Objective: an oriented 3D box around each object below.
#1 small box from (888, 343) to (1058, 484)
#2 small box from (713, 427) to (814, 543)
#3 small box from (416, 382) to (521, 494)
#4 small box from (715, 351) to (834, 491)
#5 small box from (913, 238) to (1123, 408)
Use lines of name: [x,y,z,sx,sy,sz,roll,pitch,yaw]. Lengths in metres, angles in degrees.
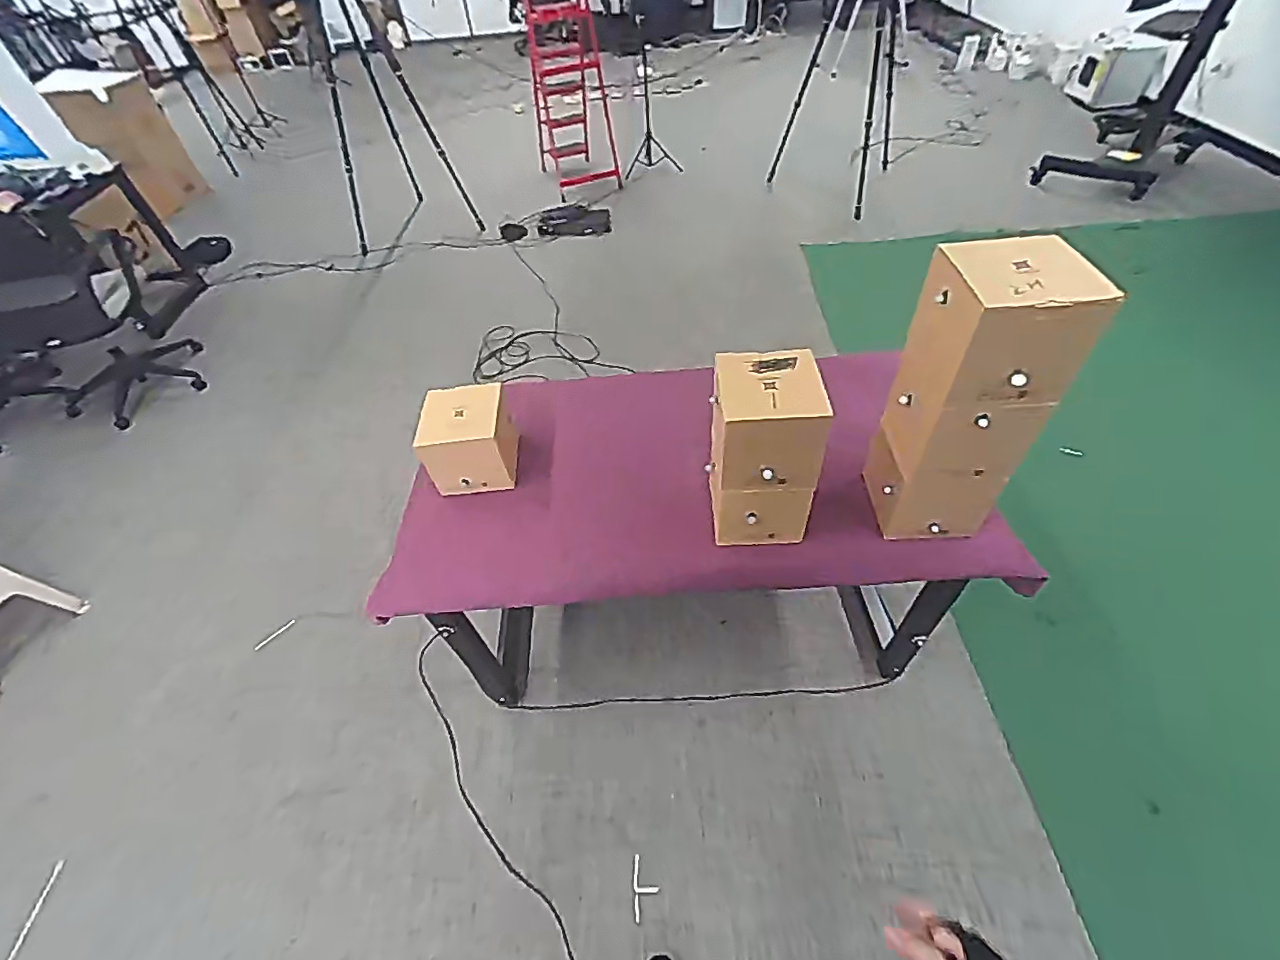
small box: [0.534,-0.112,0.901,0.168,0.176,0.179,-2,48,6]
small box: [0.229,0.011,1.048,0.168,0.176,0.179,-3,48,4]
small box: [-0.367,-0.092,1.196,0.168,0.176,0.179,-6,50,1]
small box: [0.218,-0.100,0.928,0.168,0.176,0.179,-2,49,5]
small box: [0.519,-0.223,0.780,0.168,0.176,0.179,-3,49,5]
